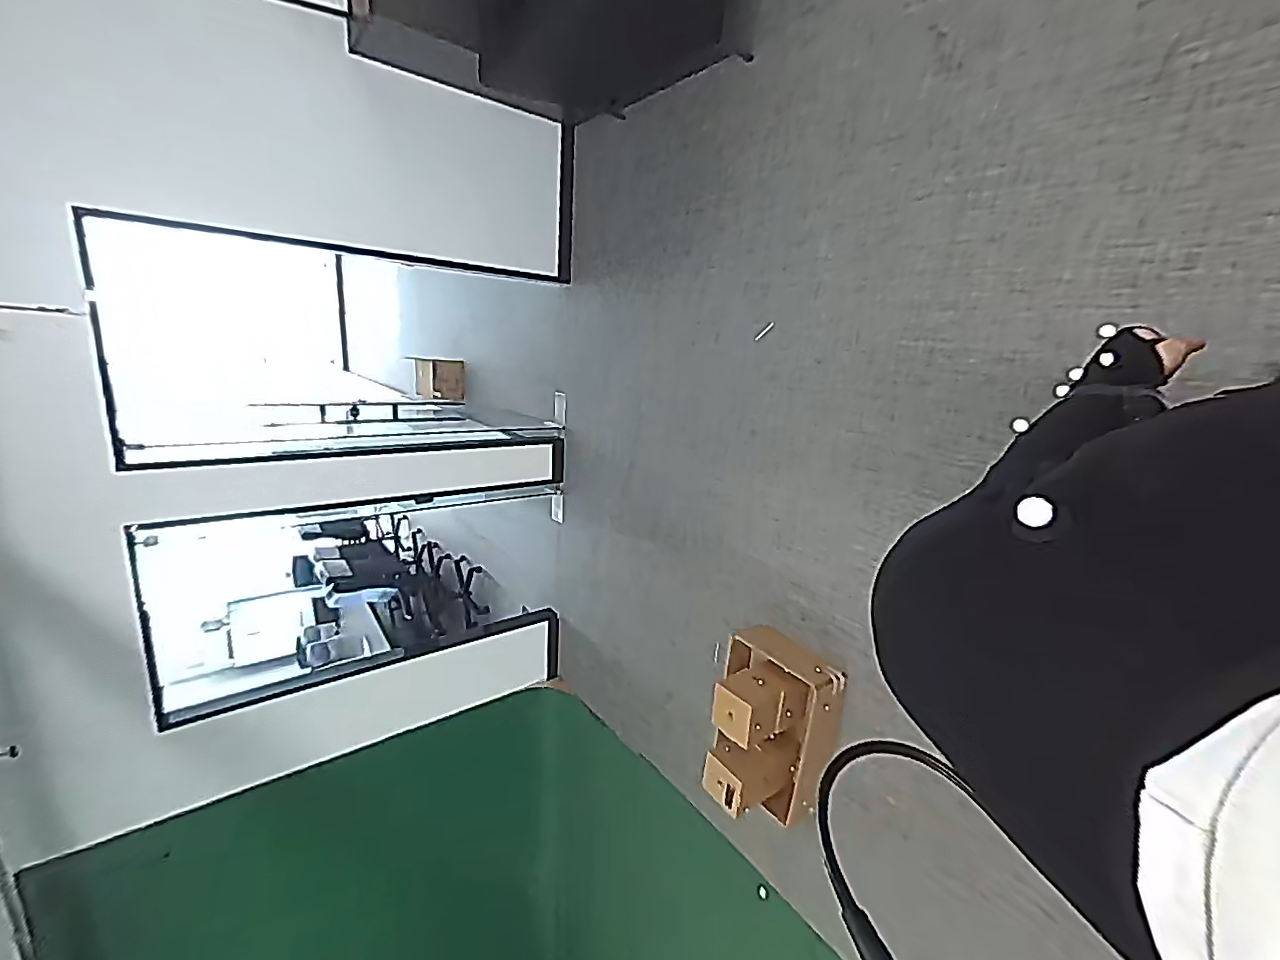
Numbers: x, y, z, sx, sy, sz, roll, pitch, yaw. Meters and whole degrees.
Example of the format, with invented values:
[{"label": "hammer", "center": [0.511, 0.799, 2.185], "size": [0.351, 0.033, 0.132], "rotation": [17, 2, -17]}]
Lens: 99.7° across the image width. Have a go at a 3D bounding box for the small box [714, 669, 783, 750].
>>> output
[{"label": "small box", "center": [0.386, 0.808, 1.921], "size": [0.168, 0.176, 0.179], "rotation": [20, 111, 48]}]
